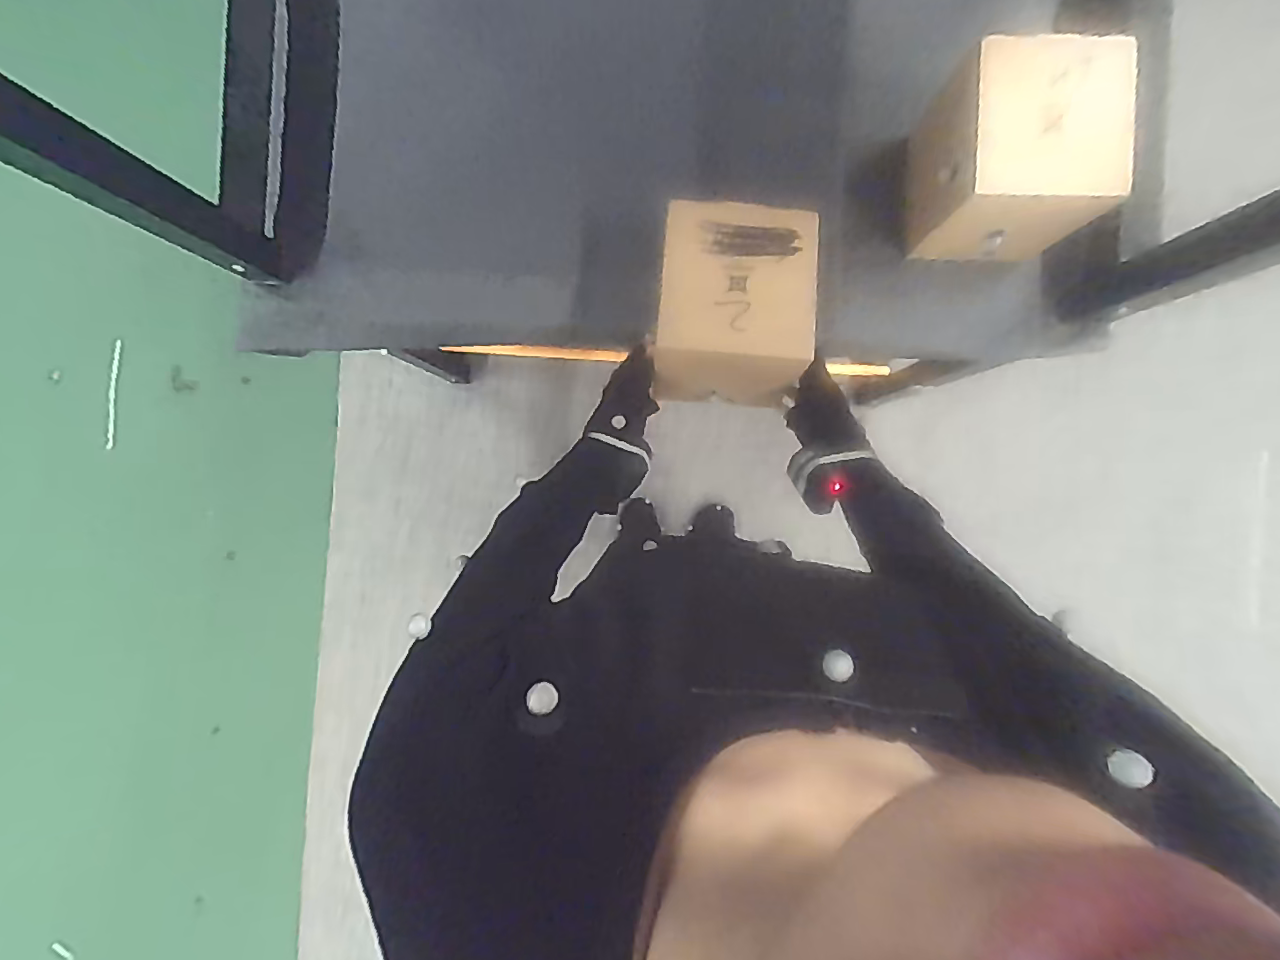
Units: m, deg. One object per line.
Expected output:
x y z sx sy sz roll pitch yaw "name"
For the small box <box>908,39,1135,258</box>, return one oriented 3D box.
0.449 -0.389 0.664 0.168 0.176 0.179 2 89 2 "small box"
